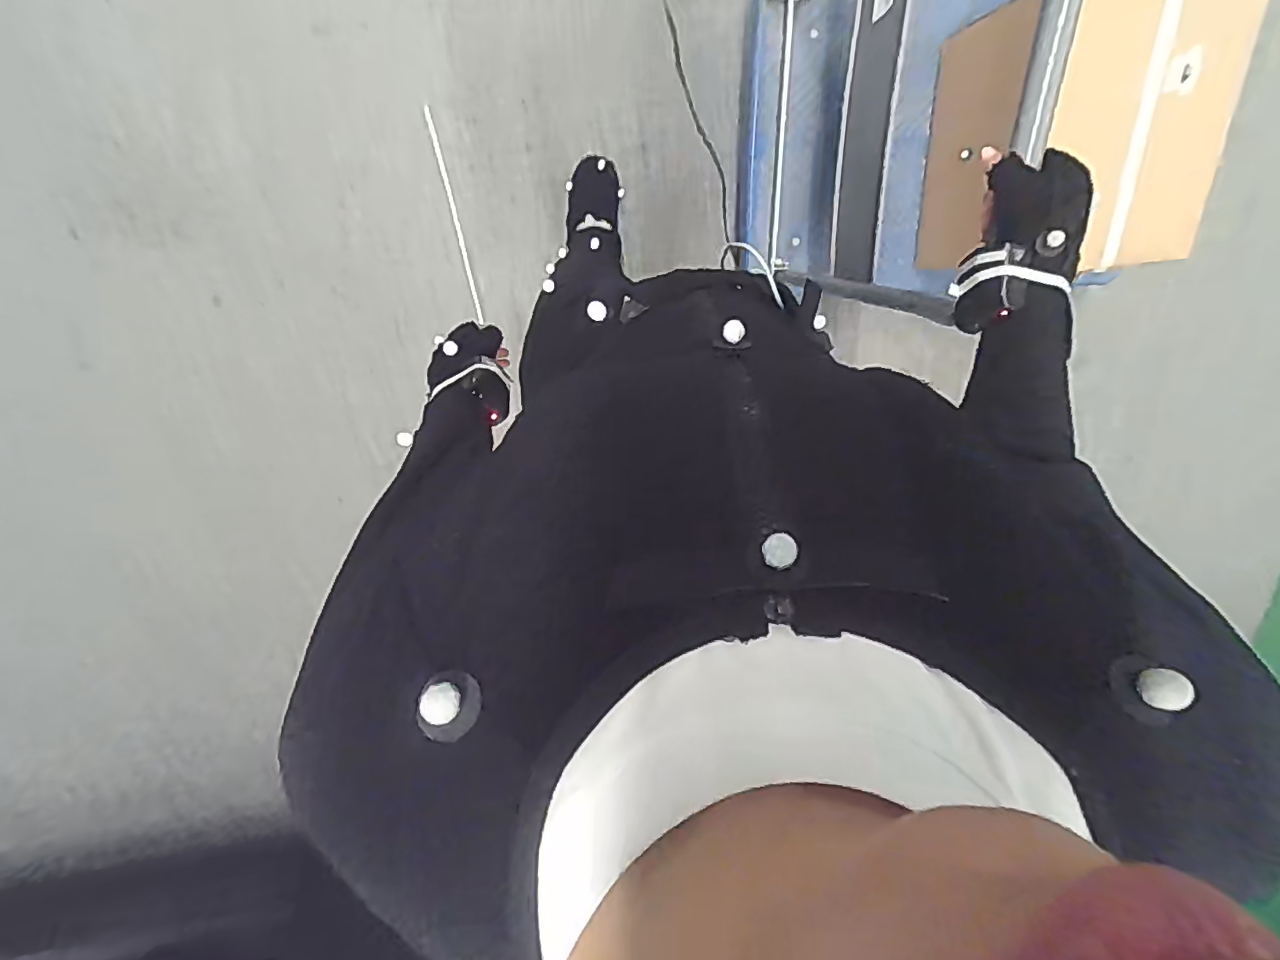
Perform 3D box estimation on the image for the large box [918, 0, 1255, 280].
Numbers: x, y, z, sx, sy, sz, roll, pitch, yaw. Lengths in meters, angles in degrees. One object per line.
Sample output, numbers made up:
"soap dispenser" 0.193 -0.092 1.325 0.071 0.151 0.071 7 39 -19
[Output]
"large box" 0.742 -0.594 0.971 0.320 0.320 0.408 -7 114 -3
